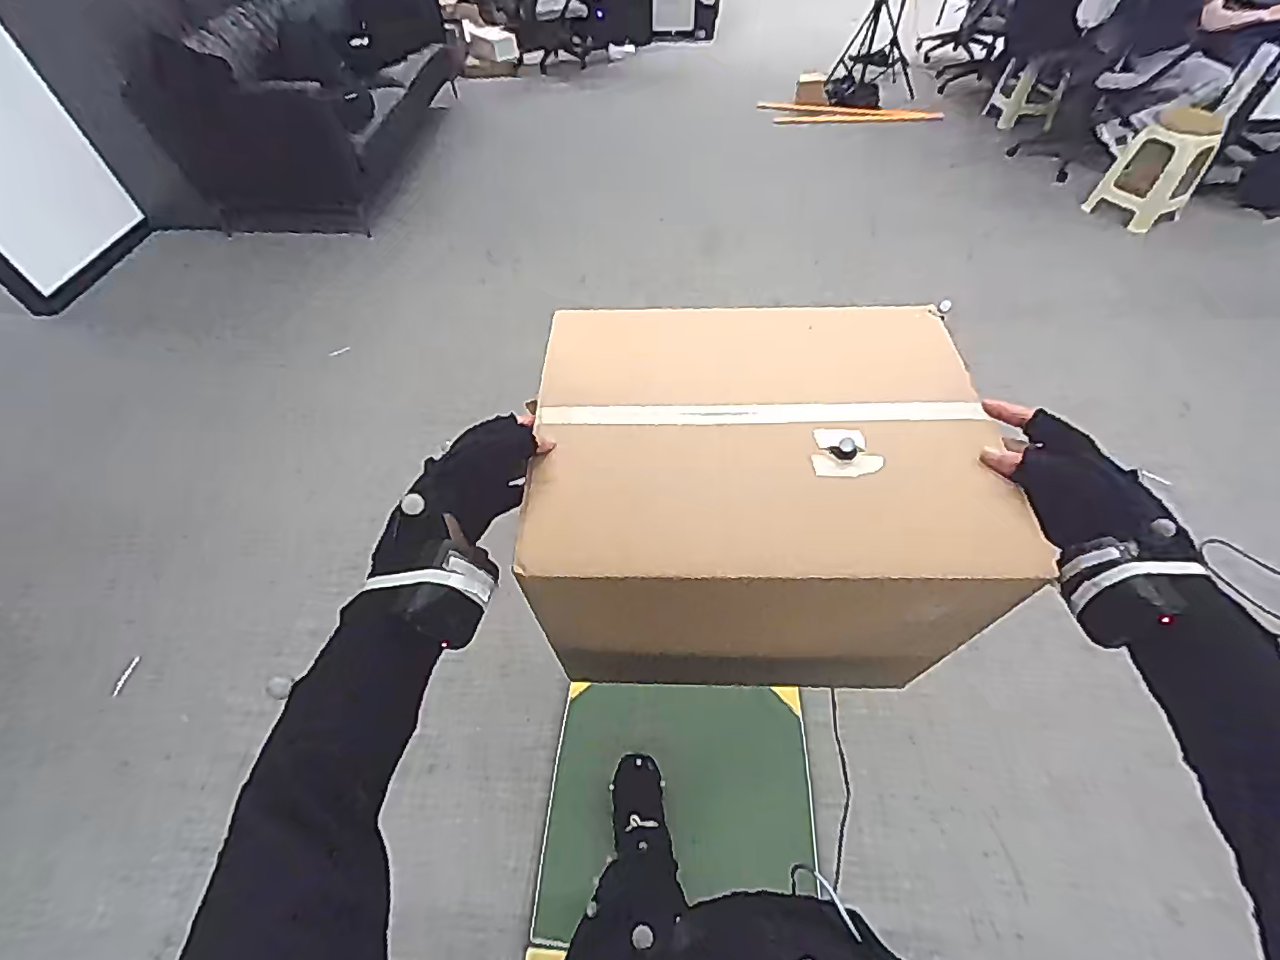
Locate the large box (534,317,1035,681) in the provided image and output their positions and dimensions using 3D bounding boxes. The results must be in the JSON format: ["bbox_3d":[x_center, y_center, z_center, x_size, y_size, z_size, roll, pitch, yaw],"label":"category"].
[{"bbox_3d":[0.113,0.034,0.629,0.408,0.320,0.320,0,56,1],"label":"large box"}]
